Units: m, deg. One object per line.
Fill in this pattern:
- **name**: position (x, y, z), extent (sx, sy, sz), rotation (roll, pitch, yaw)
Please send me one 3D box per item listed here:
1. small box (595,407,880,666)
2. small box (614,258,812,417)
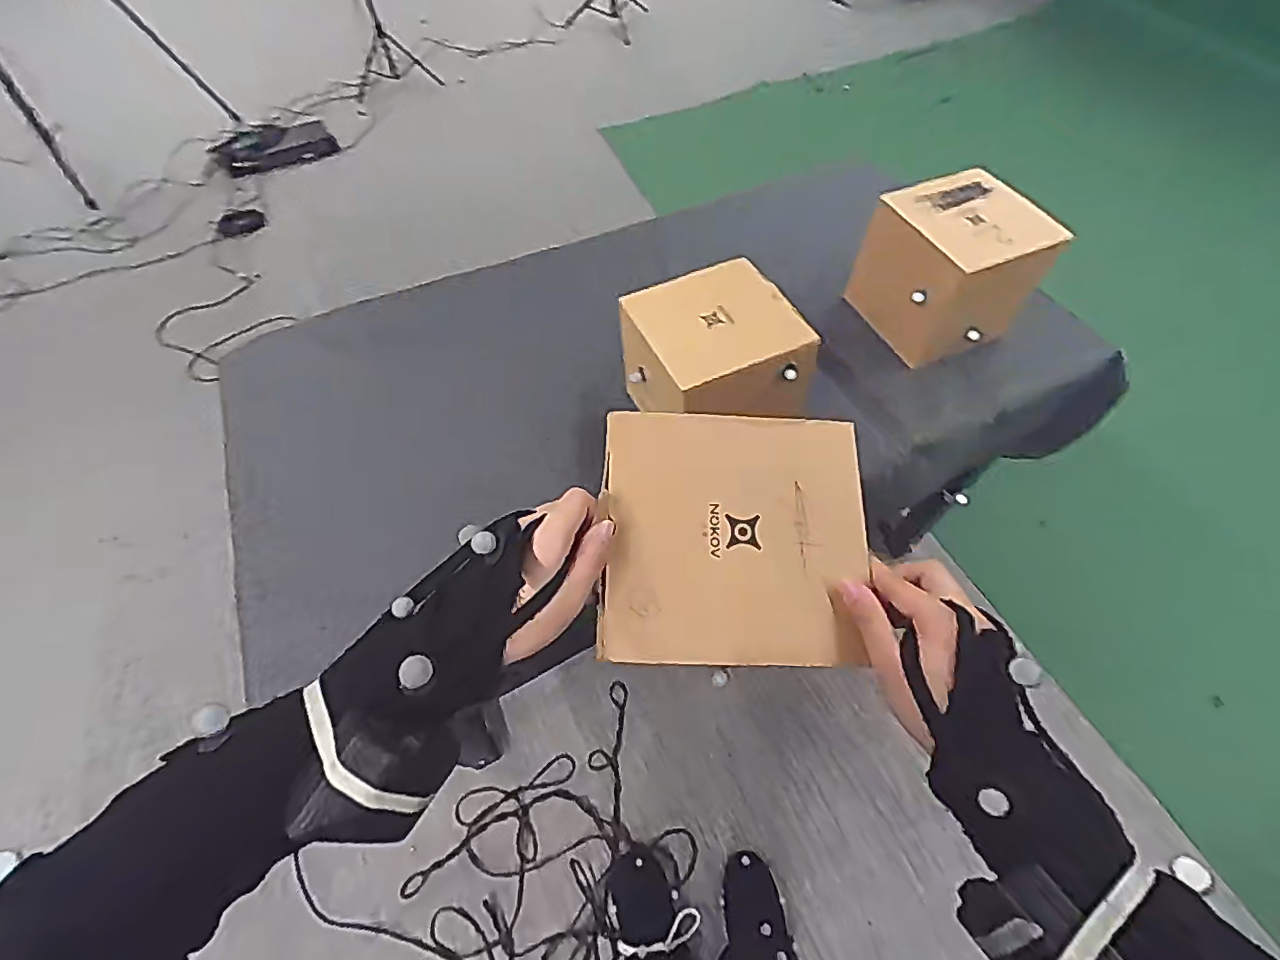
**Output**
- **small box**: position (0.056, 0.056, 0.423), extent (0.179, 0.176, 0.168), rotation (3, 73, -5)
- **small box**: position (0.083, -0.141, 0.684), extent (0.179, 0.176, 0.168), rotation (-22, 60, -12)
